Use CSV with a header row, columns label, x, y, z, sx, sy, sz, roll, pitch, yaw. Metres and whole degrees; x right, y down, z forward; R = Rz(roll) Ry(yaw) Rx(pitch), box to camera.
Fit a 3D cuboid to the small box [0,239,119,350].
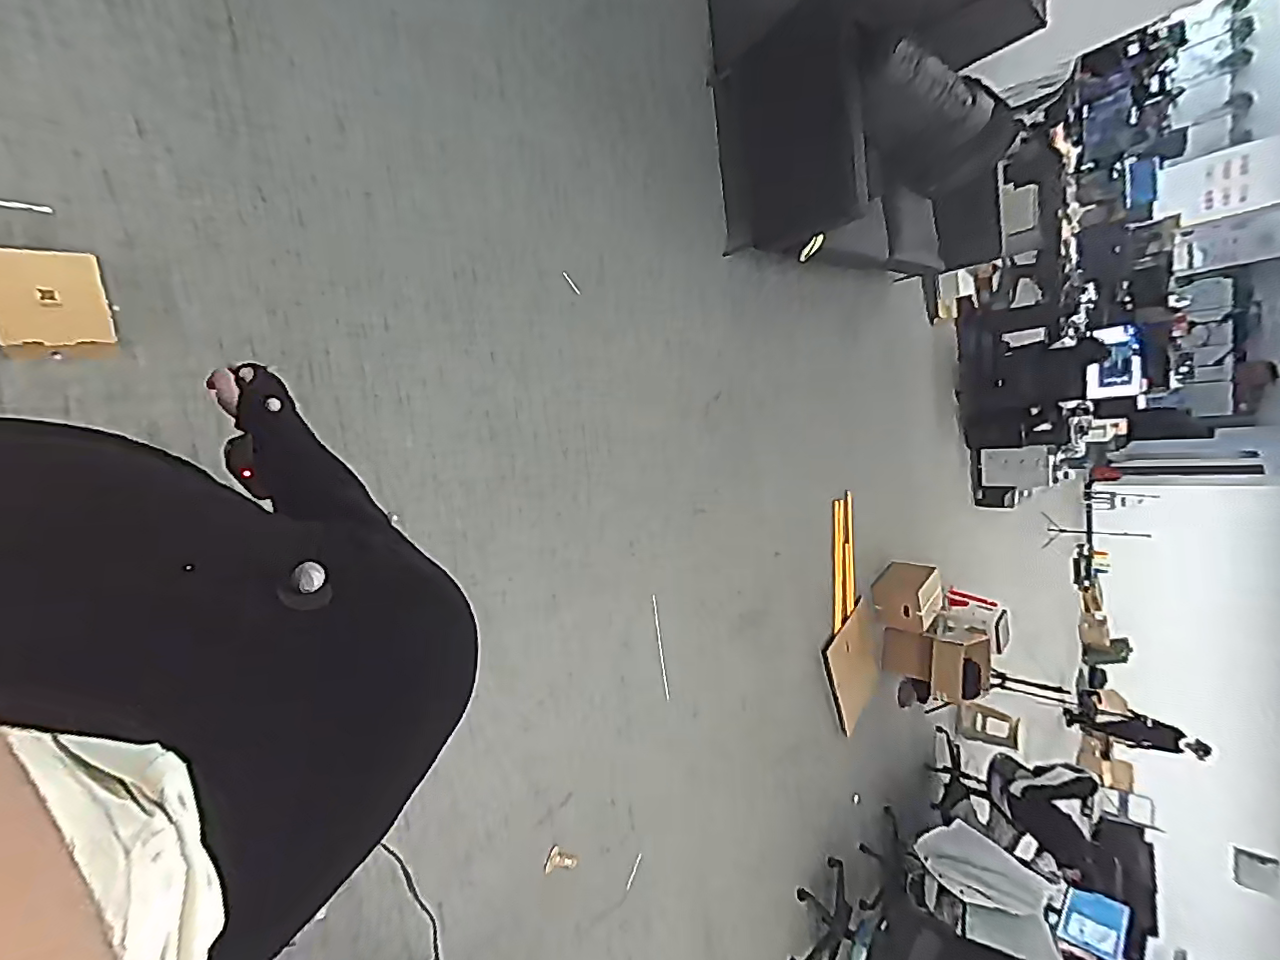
label,x,y,z,sx,sy,sz,roll,pitch,yaw
small box,-1.185,-0.366,1.091,0.168,0.176,0.179,-14,101,-42
